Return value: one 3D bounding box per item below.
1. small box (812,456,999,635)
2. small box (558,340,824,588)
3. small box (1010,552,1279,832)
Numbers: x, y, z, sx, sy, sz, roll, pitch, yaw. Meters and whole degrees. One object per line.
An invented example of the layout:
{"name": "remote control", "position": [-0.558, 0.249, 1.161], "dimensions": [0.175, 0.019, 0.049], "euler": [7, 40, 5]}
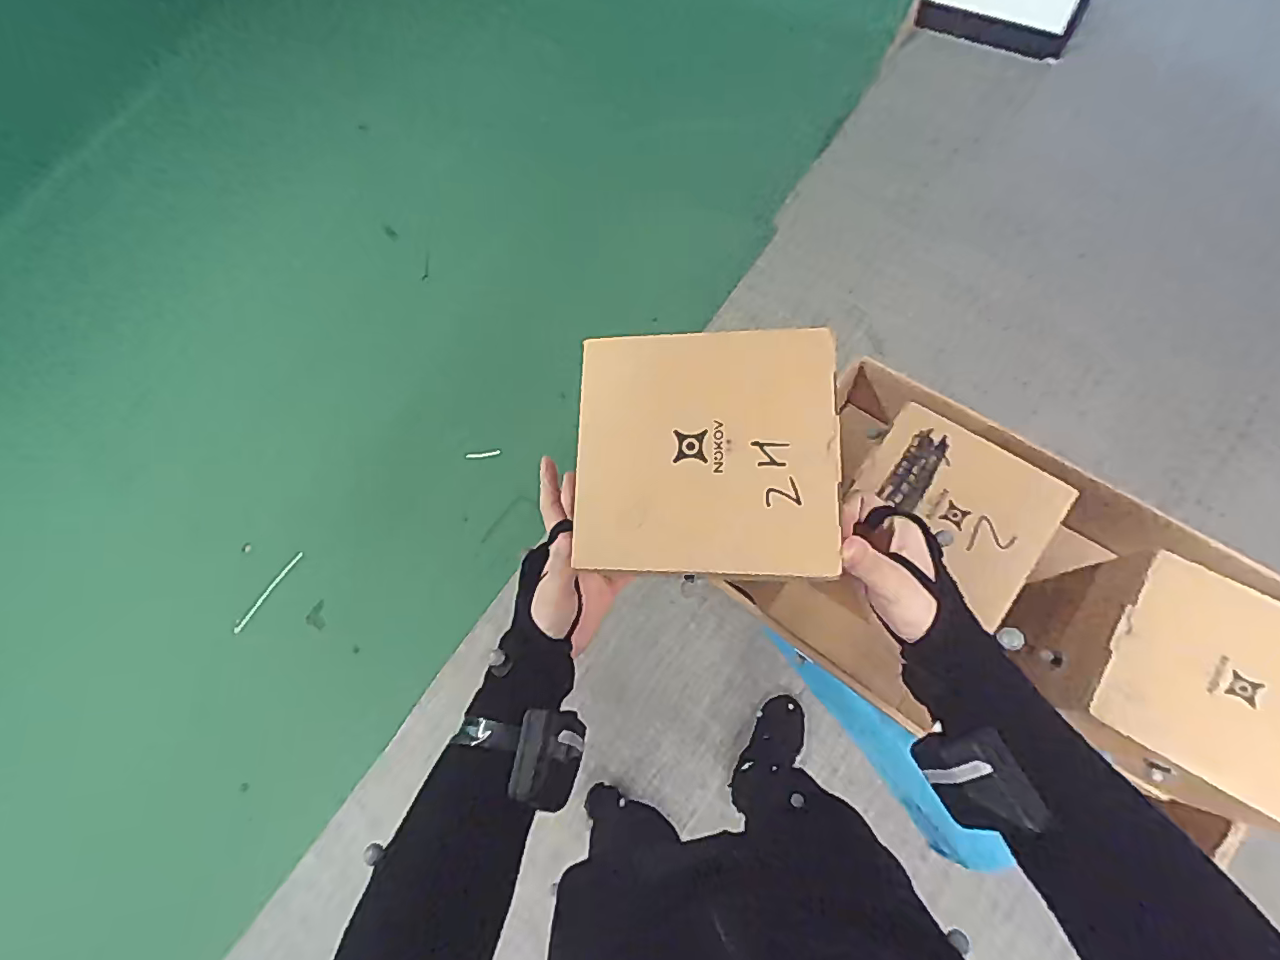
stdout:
{"name": "small box", "position": [0.337, 0.100, 0.751], "dimensions": [0.179, 0.176, 0.168], "euler": [35, 82, 17]}
{"name": "small box", "position": [0.046, 0.001, 0.441], "dimensions": [0.179, 0.176, 0.168], "euler": [0, 79, 10]}
{"name": "small box", "position": [0.499, 0.194, 0.512], "dimensions": [0.179, 0.176, 0.168], "euler": [30, 81, 19]}
